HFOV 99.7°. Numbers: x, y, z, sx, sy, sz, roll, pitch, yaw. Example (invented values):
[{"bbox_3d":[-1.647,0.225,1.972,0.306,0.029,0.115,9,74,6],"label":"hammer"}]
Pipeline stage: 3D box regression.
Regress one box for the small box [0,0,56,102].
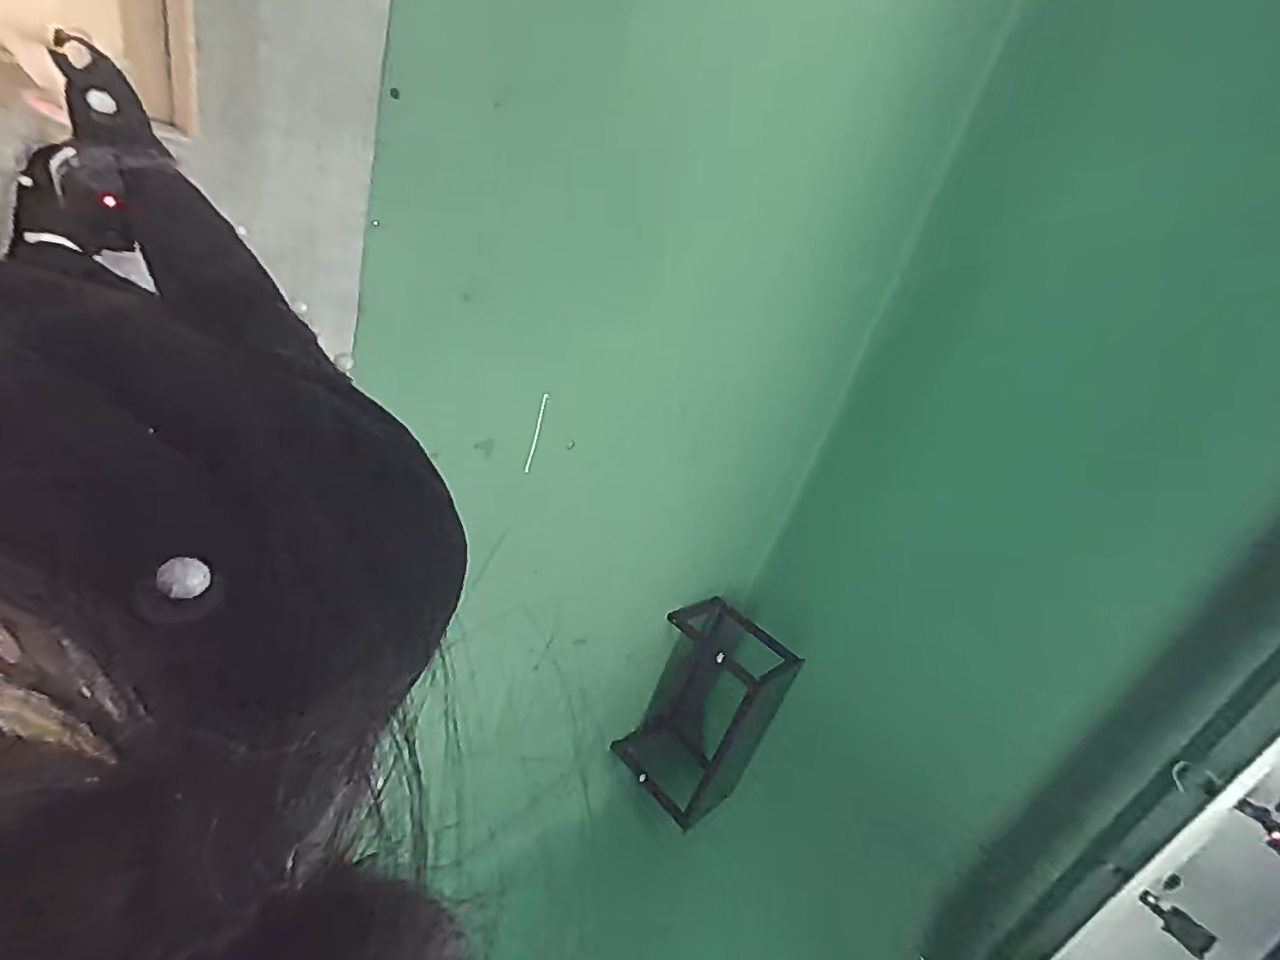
[{"bbox_3d":[-0.591,-0.441,0.421,0.168,0.176,0.179,1,100,-56],"label":"small box"}]
